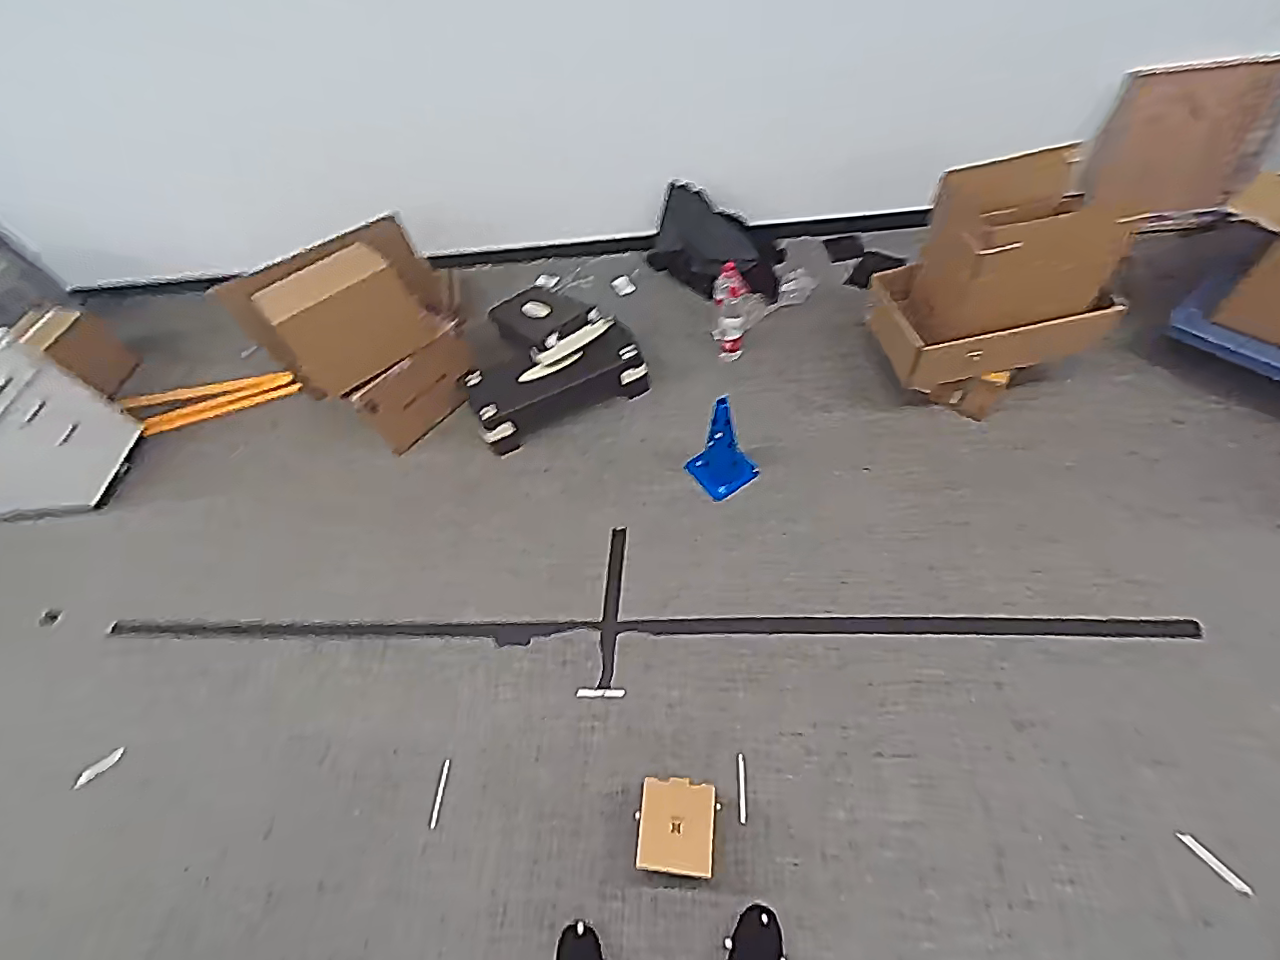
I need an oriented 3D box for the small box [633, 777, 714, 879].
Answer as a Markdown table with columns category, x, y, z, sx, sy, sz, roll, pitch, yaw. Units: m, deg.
| category | x | y | z | sx | sy | sz | roll | pitch | yaw |
| --- | --- | --- | --- | --- | --- | --- | --- | --- | --- |
| small box | 0.085 | 0.816 | 1.273 | 0.168 | 0.176 | 0.179 | 2 | 56 | 10 |
